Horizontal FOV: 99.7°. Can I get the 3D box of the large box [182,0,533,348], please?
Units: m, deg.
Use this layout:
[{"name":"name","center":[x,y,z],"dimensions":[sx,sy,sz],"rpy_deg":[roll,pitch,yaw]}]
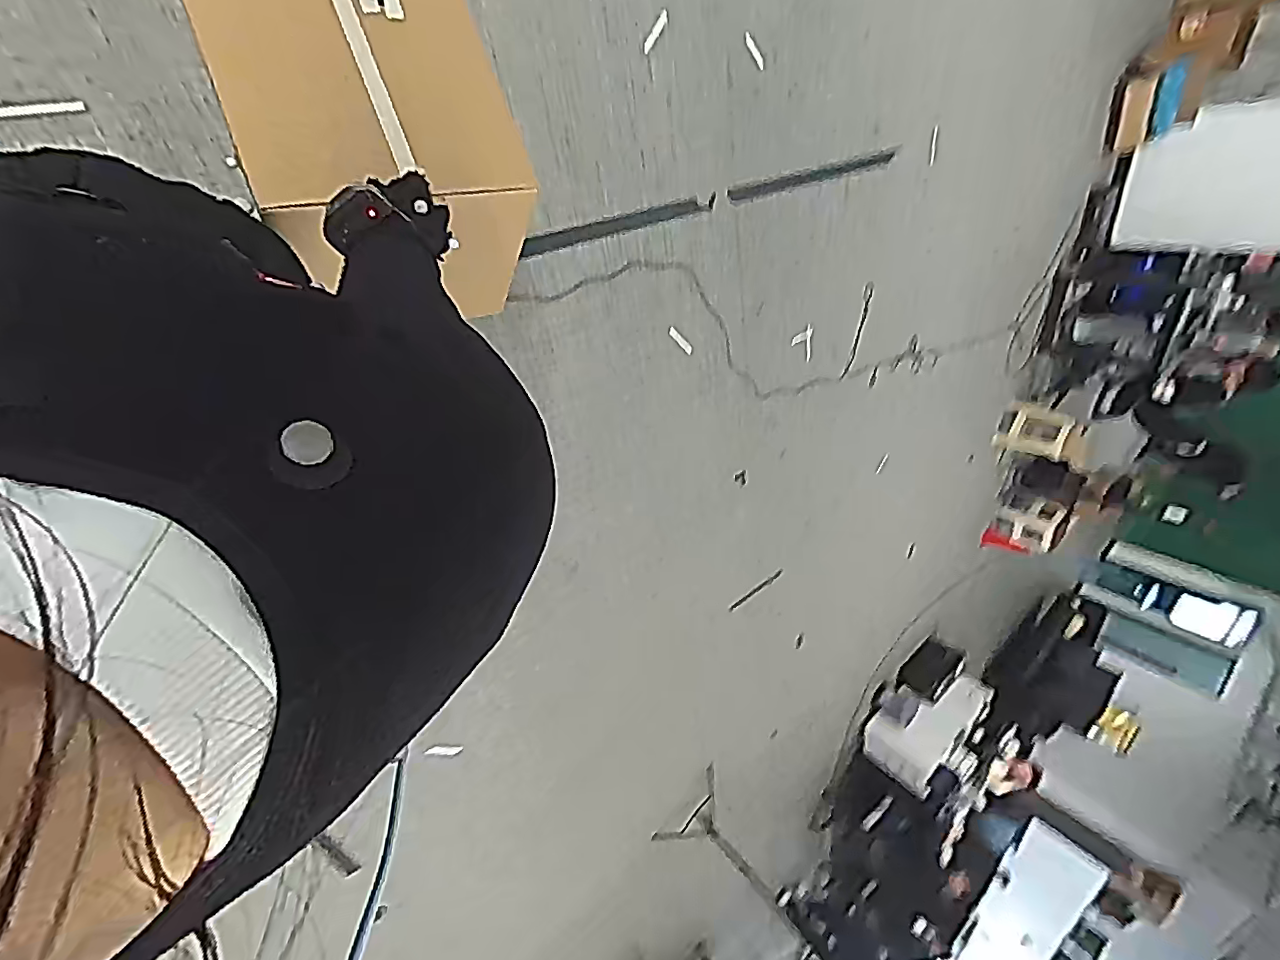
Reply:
[{"name":"large box","center":[-0.398,-0.465,0.790],"dimensions":[0.320,0.320,0.408],"rpy_deg":[-20,84,-28]}]
